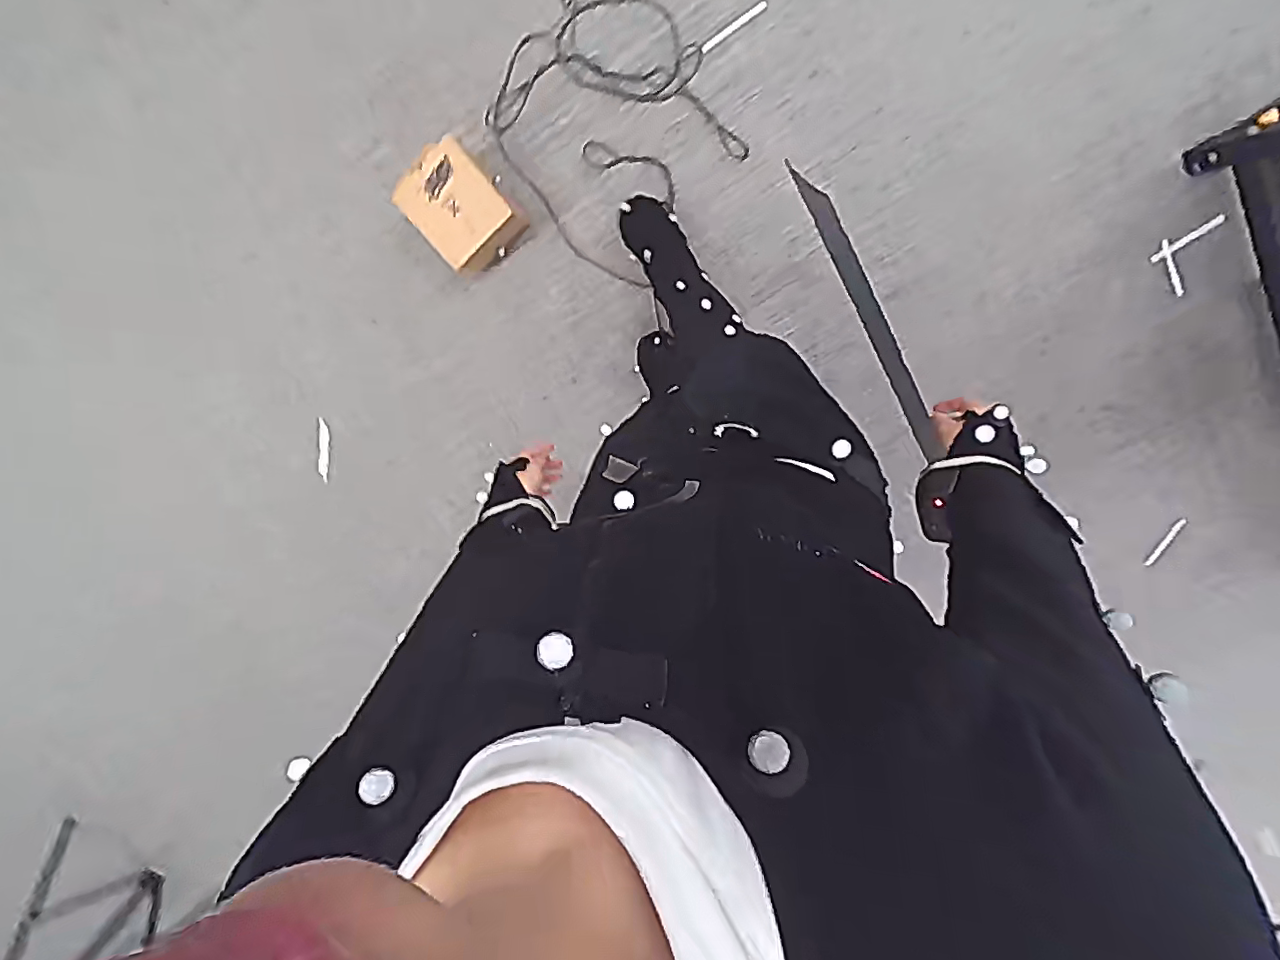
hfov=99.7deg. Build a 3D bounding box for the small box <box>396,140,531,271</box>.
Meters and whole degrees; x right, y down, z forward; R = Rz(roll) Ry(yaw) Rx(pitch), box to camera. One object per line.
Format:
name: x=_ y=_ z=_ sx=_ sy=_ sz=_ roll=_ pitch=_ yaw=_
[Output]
small box: x=-0.355 y=-0.551 z=1.117 sx=0.168 sy=0.176 sz=0.179 roll=-38 pitch=105 yaw=14
